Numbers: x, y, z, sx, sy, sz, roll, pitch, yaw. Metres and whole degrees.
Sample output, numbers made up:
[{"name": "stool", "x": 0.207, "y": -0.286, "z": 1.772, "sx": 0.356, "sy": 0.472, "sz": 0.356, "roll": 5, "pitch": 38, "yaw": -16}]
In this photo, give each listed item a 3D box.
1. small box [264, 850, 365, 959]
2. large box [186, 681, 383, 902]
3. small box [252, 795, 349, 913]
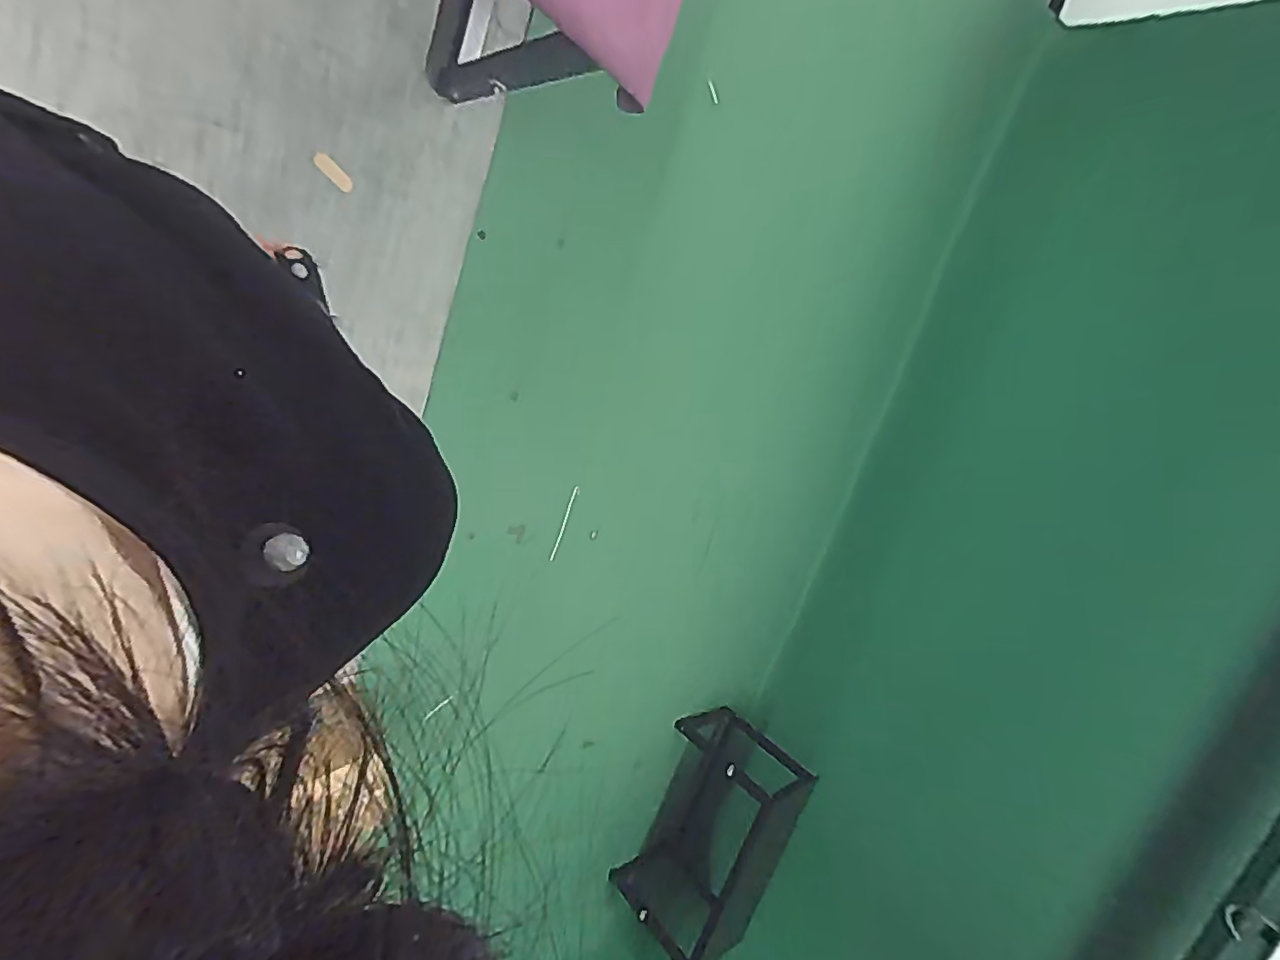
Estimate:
[{"name": "small box", "x": -0.761, "y": 1.012, "z": 1.259, "sx": 0.168, "sy": 0.176, "sz": 0.179, "roll": -4, "pitch": 113, "yaw": -44}, {"name": "large box", "x": -1.004, "y": 0.856, "z": 1.551, "sx": 0.408, "sy": 0.320, "sz": 0.320, "roll": -11, "pitch": 120, "yaw": -43}, {"name": "small box", "x": -0.862, "y": 0.949, "z": 1.372, "sx": 0.179, "sy": 0.176, "sz": 0.168, "roll": -6, "pitch": 114, "yaw": -43}]
